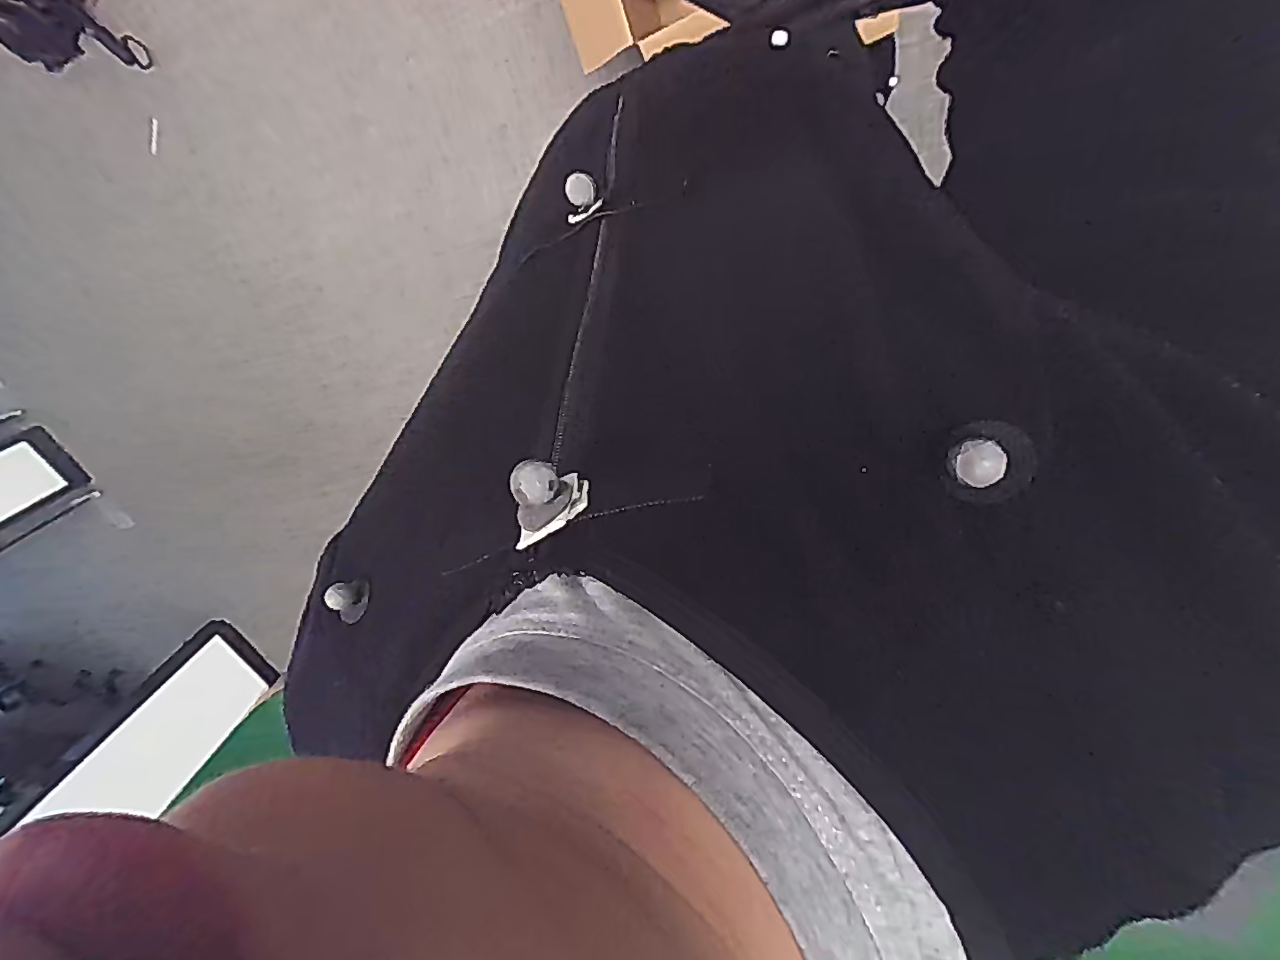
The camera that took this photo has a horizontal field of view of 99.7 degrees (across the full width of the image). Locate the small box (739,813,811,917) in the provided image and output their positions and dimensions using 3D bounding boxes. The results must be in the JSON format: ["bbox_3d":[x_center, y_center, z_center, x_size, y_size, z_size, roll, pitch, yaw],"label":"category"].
[{"bbox_3d":[0.357,1.010,1.426,0.168,0.176,0.179,-5,124,18],"label":"small box"}]
